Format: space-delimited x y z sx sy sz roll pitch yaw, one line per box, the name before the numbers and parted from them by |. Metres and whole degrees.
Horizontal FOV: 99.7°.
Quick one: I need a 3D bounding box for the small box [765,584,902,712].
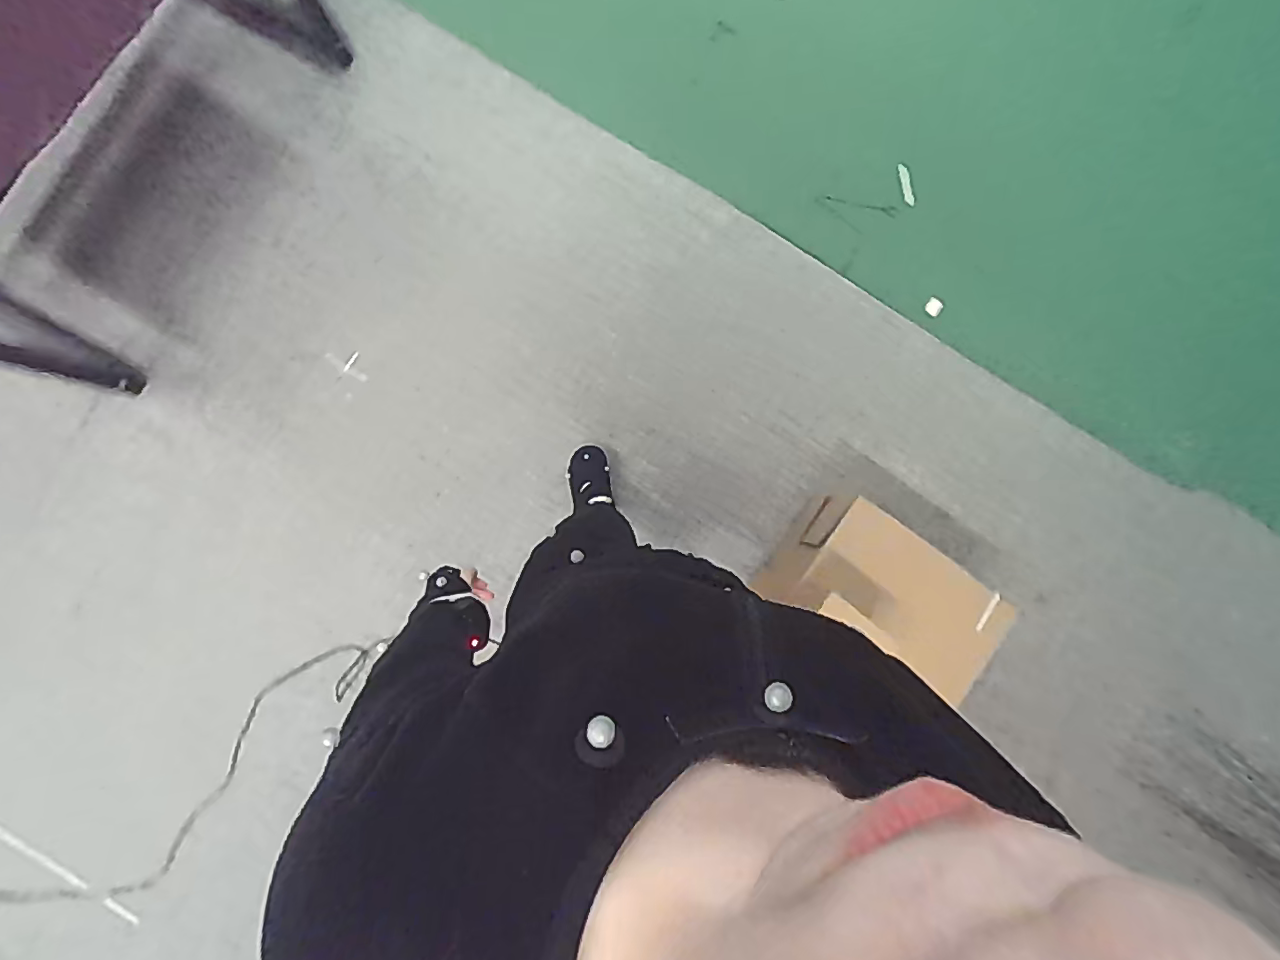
small box | 0.385 0.331 1.113 0.179 0.176 0.168 40 88 0
